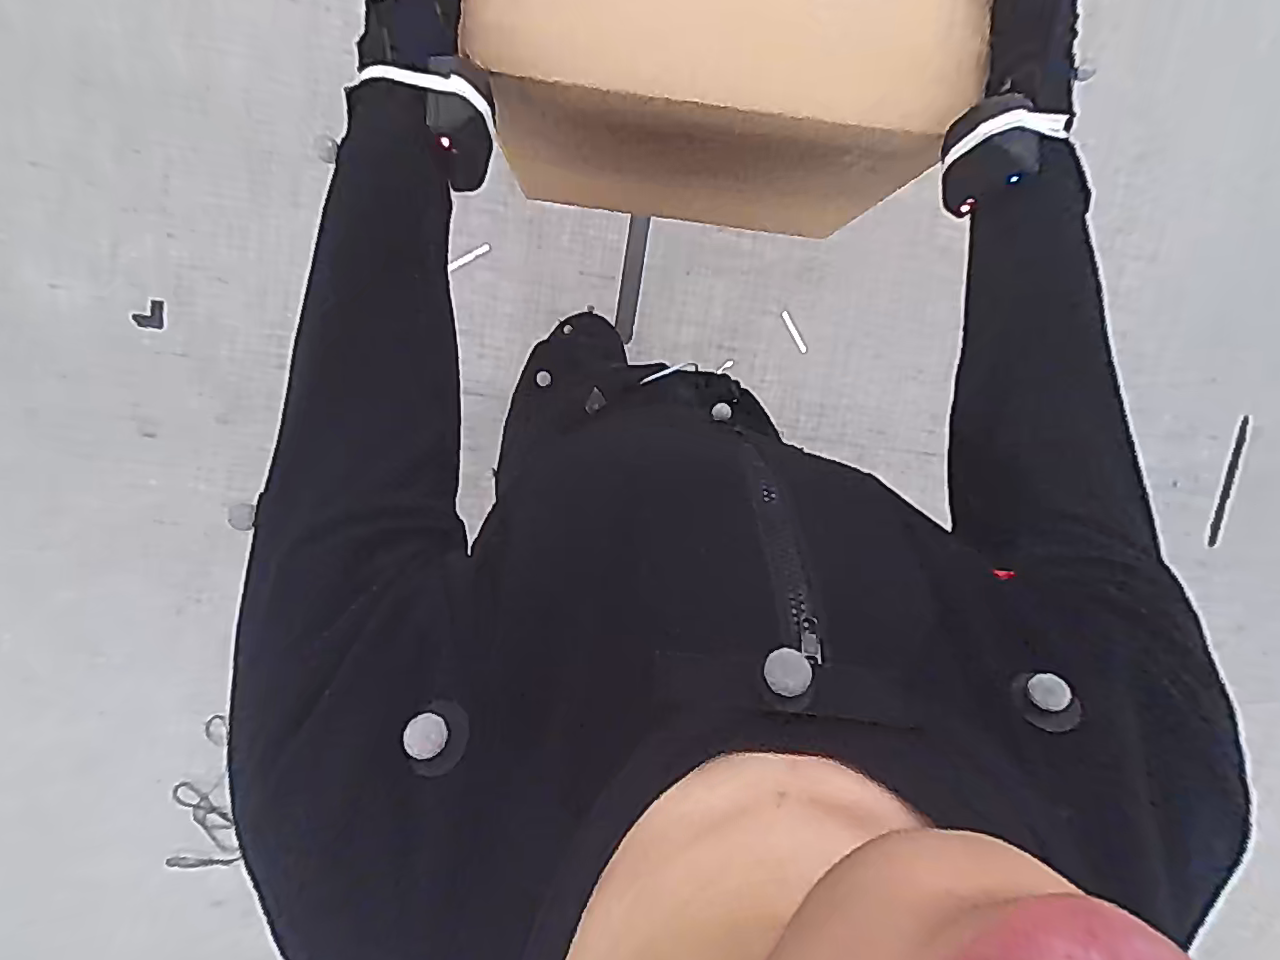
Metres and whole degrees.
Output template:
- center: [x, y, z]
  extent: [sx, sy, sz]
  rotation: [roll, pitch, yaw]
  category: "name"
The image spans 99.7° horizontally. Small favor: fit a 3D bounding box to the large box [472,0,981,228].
- center: [0.069, -0.477, 0.550]
  extent: [0.408, 0.320, 0.320]
  rotation: [5, 101, -4]
  category: "large box"
